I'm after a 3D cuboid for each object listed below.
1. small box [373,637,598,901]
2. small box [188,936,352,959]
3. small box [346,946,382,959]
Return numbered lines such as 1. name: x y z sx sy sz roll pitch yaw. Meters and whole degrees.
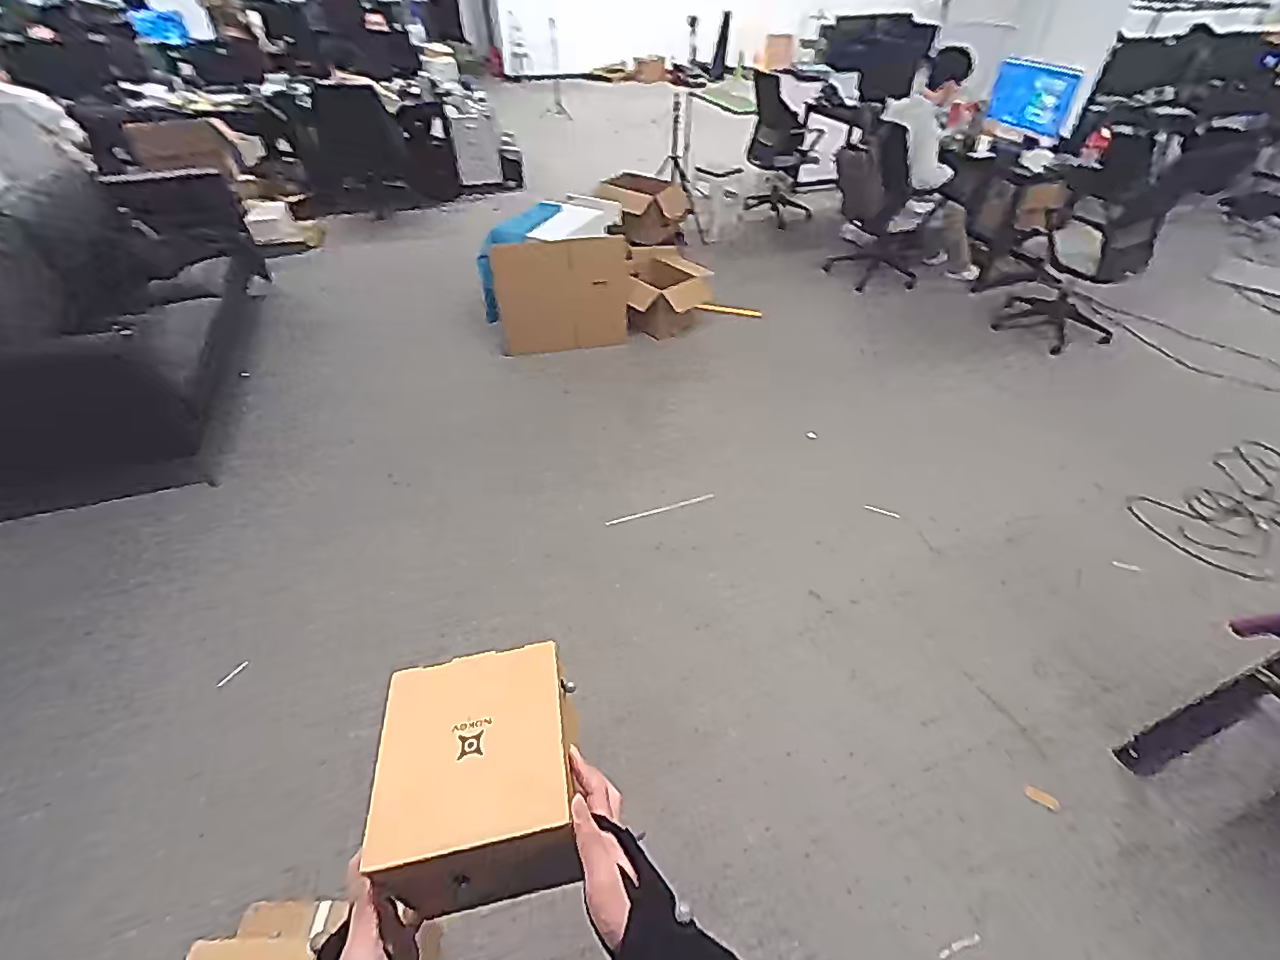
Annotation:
1. small box: -0.140 0.292 0.544 0.168 0.176 0.179 -10 40 -6
2. small box: -0.547 0.769 0.774 0.179 0.176 0.168 0 44 -2
3. small box: -0.557 0.884 0.889 0.179 0.176 0.168 2 44 -1
